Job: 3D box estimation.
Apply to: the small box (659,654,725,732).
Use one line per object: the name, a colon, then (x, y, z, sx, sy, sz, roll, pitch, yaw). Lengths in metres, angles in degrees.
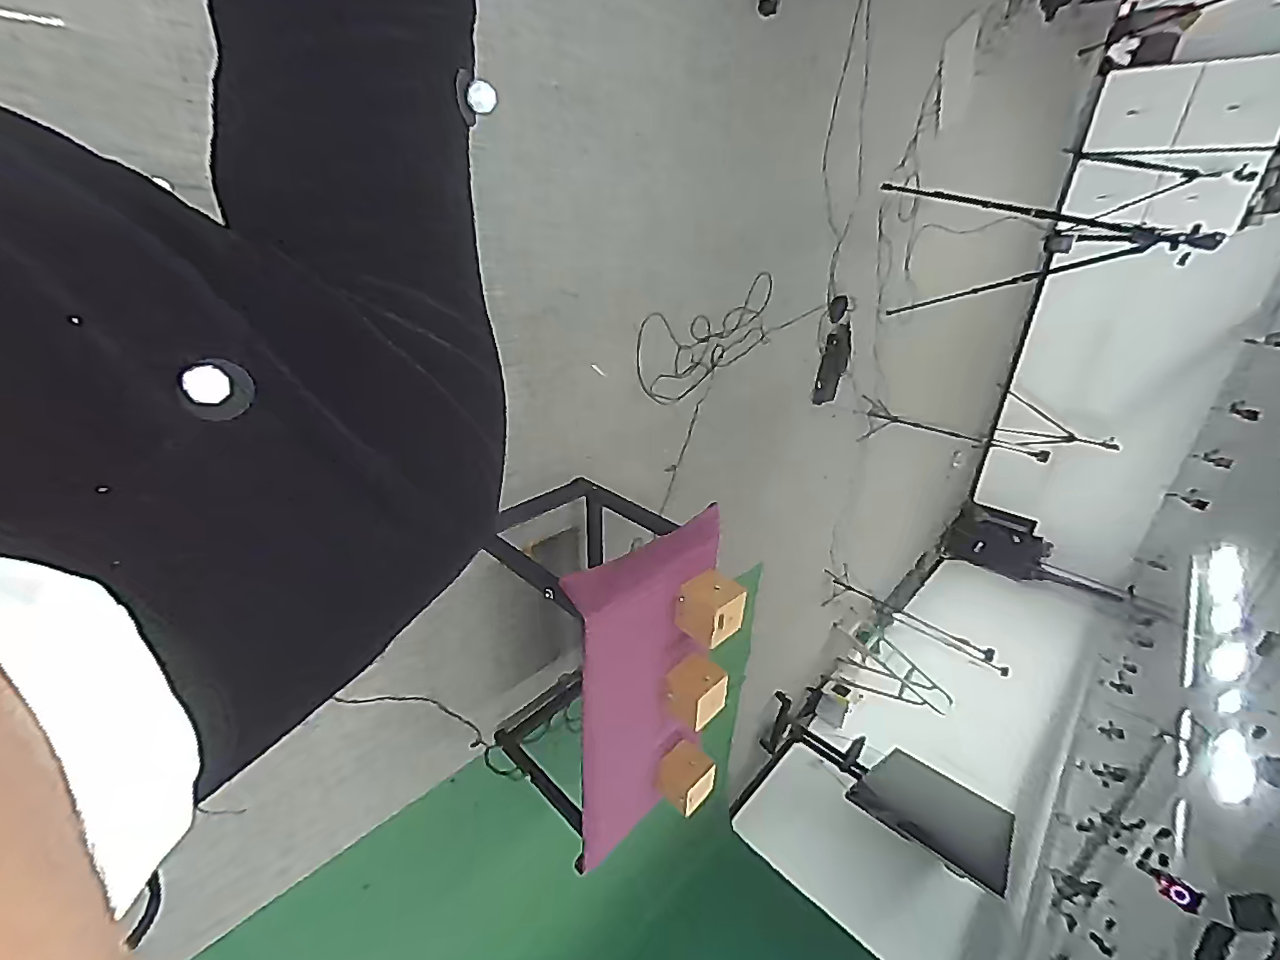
small box: (0.192, 0.779, 2.002, 0.179, 0.176, 0.168, -22, 124, -41)

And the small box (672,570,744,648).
small box: (0.230, 0.440, 1.863, 0.179, 0.176, 0.168, -20, 124, -42)

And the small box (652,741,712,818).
small box: (0.171, 1.208, 2.198, 0.179, 0.176, 0.168, -24, 125, -41)
